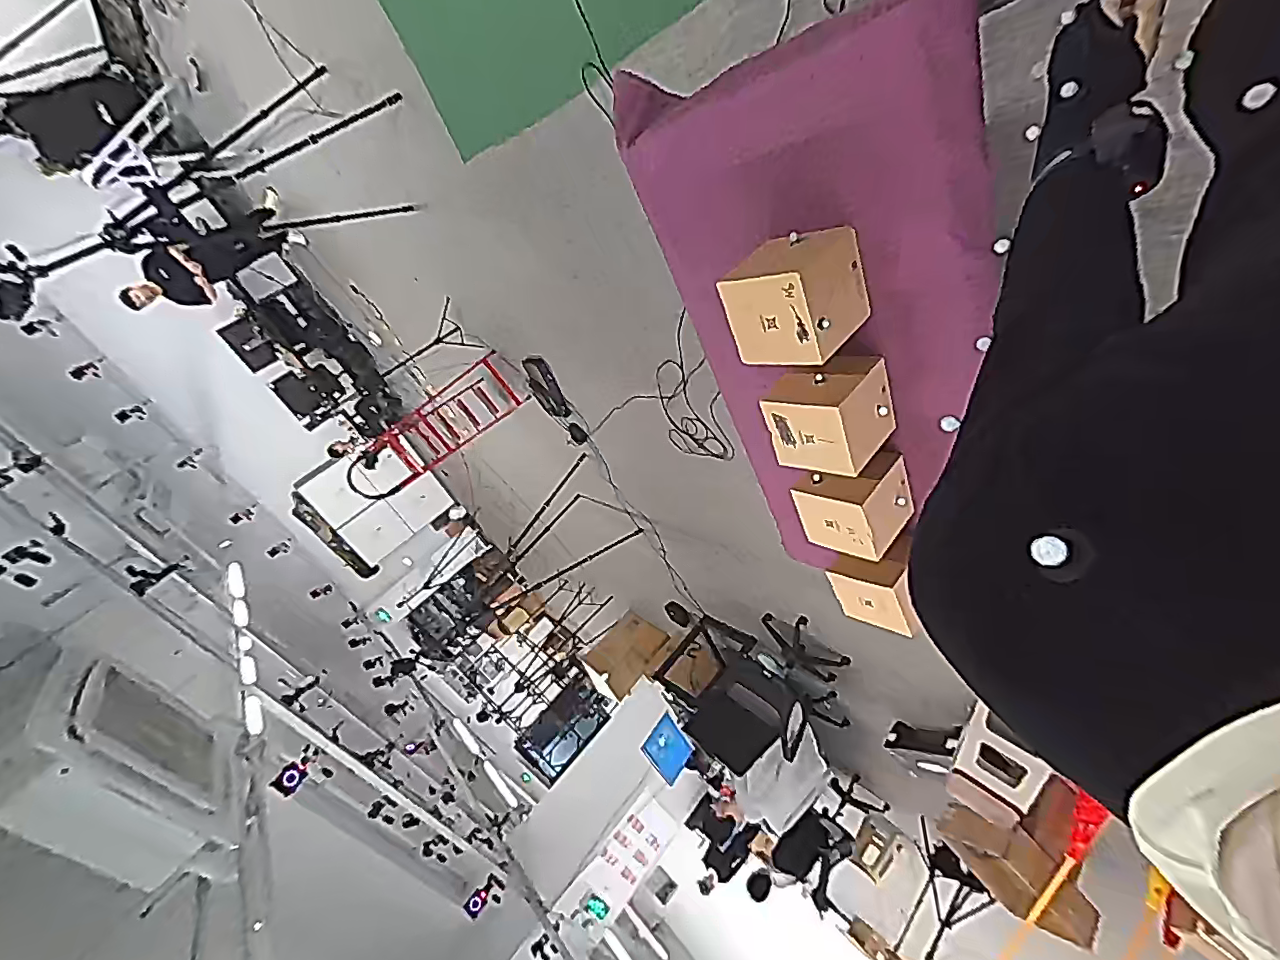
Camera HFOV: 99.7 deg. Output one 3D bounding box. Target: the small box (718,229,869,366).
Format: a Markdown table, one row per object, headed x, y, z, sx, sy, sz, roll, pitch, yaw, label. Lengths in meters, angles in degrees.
| x | y | z | sx | sy | sz | roll | pitch | yaw | label |
| --- | --- | --- | --- | --- | --- | --- | --- | --- | --- |
| 0.275 | -0.321 | 0.961 | 0.179 | 0.176 | 0.168 | 17 | 143 | 49 | small box |

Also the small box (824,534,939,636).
| x | y | z | sx | sy | sz | roll | pitch | yaw | label |
| --- | --- | --- | --- | --- | --- | --- | --- | --- | --- |
| 0.586 | 0.238 | 1.309 | 0.179 | 0.176 | 0.168 | 9 | 137 | 54 | small box |

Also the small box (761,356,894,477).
| x | y | z | sx | sy | sz | roll | pitch | yaw | label |
| --- | --- | --- | --- | --- | --- | --- | --- | --- | --- |
| 0.377 | -0.134 | 1.082 | 0.179 | 0.176 | 0.168 | 16 | 142 | 48 | small box |

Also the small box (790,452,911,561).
| x | y | z | sx | sy | sz | roll | pitch | yaw | label |
| --- | --- | --- | --- | --- | --- | --- | --- | --- | --- |
| 0.470 | 0.045 | 1.202 | 0.179 | 0.176 | 0.168 | 15 | 141 | 50 | small box |
